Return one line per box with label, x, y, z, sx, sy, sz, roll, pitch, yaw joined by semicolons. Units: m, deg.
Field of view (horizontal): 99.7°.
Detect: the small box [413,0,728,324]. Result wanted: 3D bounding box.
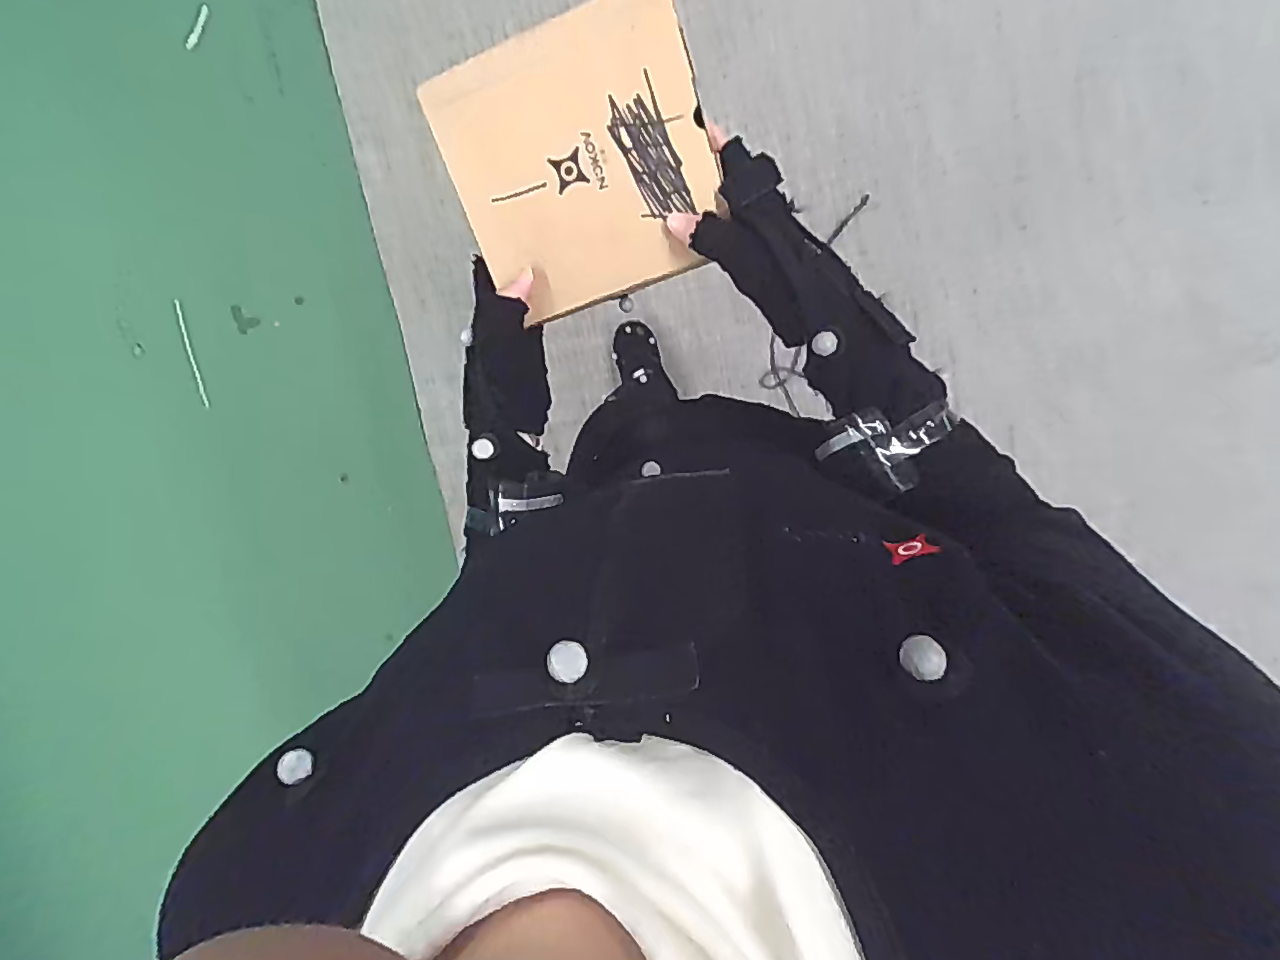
small box;-0.039;-0.239;0.440;0.179;0.176;0.168;-16;107;11
